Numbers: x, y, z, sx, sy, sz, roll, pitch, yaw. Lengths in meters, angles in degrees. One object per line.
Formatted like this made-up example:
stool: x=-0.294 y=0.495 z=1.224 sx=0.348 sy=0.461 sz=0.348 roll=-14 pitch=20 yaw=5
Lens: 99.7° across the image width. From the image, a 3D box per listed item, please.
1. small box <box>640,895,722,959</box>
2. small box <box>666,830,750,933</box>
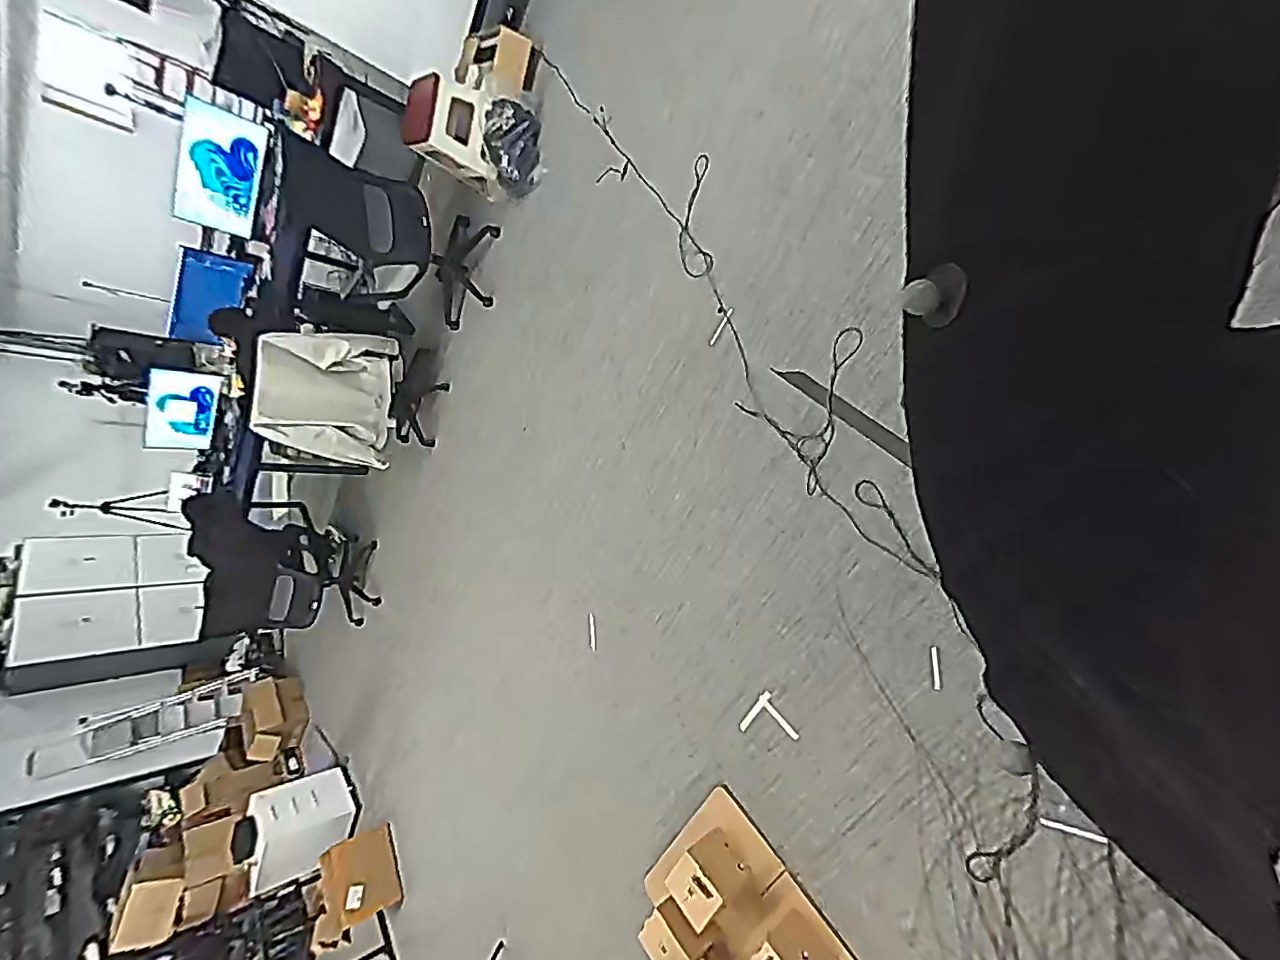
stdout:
small box: x=0.136 y=1.494 z=1.781 sx=0.179 sy=0.176 sz=0.168 roll=39 pitch=115 yaw=37
small box: x=0.221 y=1.258 z=1.708 sx=0.168 sy=0.176 sz=0.179 roll=41 pitch=115 yaw=37
